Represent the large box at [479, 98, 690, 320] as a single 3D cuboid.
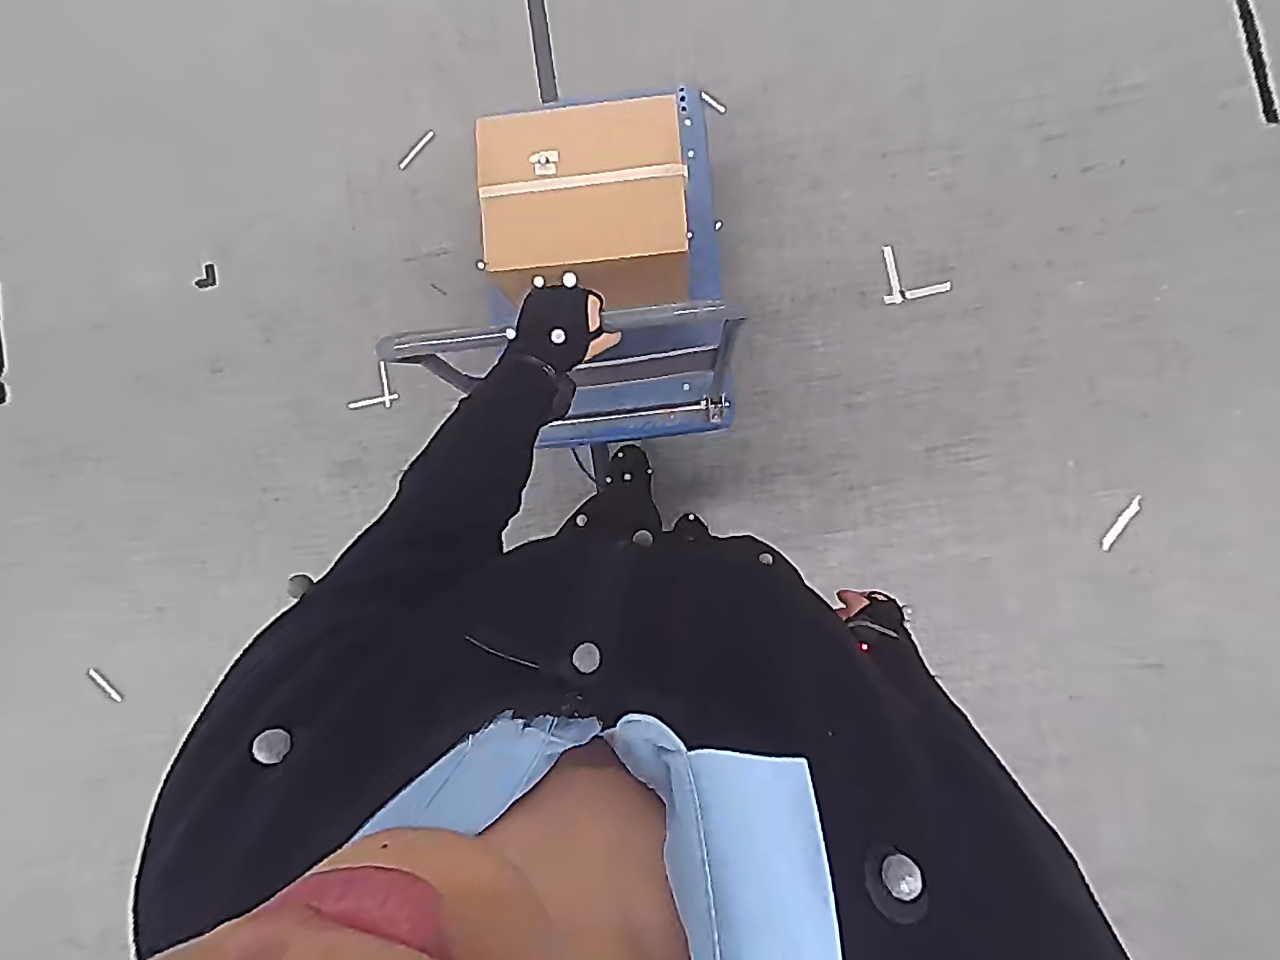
[{"bbox_3d":[-0.102,-0.577,1.218,0.408,0.320,0.320,-4,87,6],"label":"large box"}]
